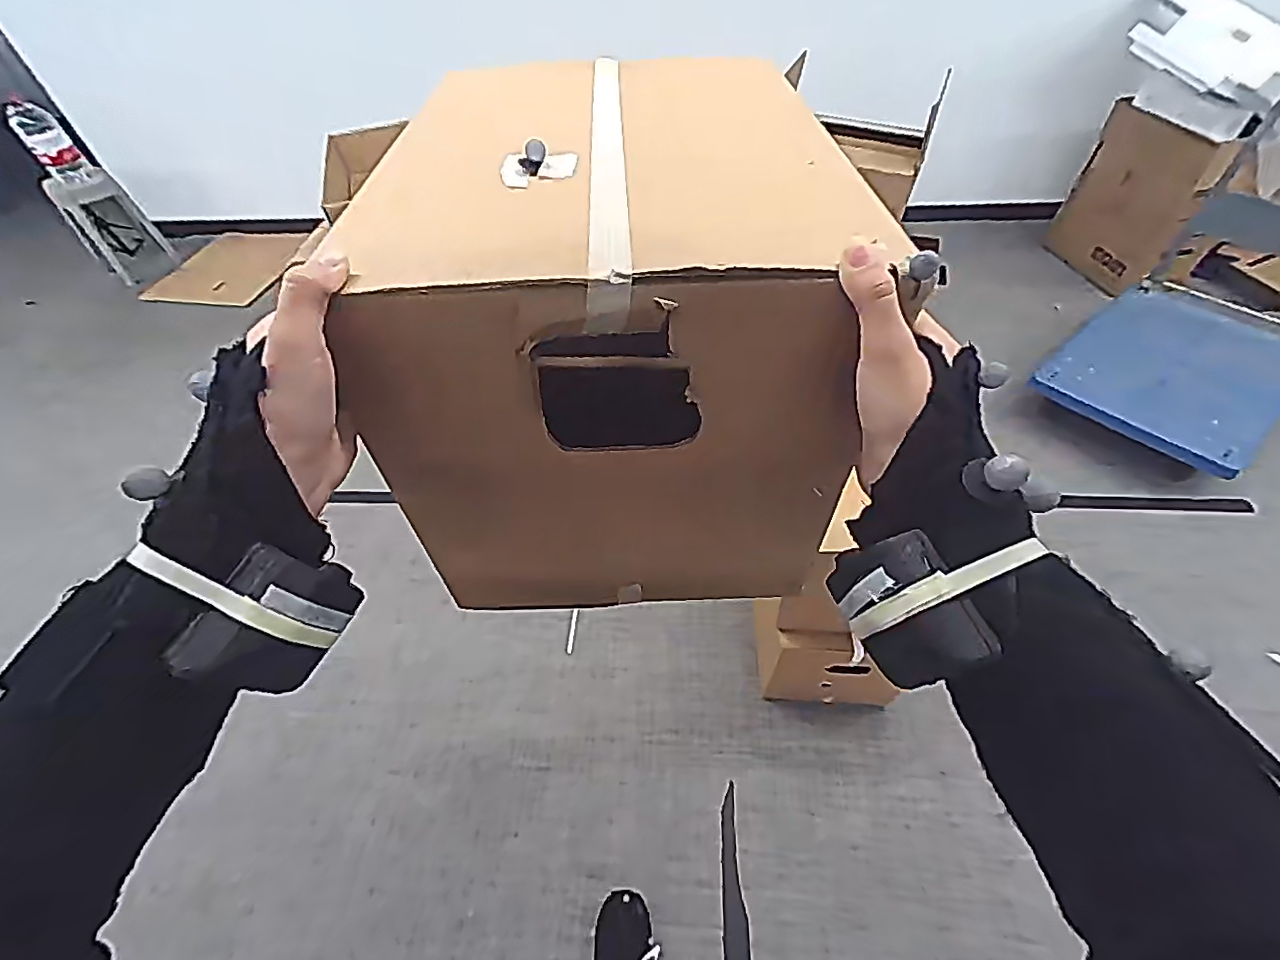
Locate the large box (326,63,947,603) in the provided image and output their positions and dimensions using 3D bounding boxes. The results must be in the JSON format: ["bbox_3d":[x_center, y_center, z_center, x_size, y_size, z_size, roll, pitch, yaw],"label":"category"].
[{"bbox_3d":[-0.011,-0.142,0.501,0.320,0.320,0.408,-4,50,0],"label":"large box"}]
